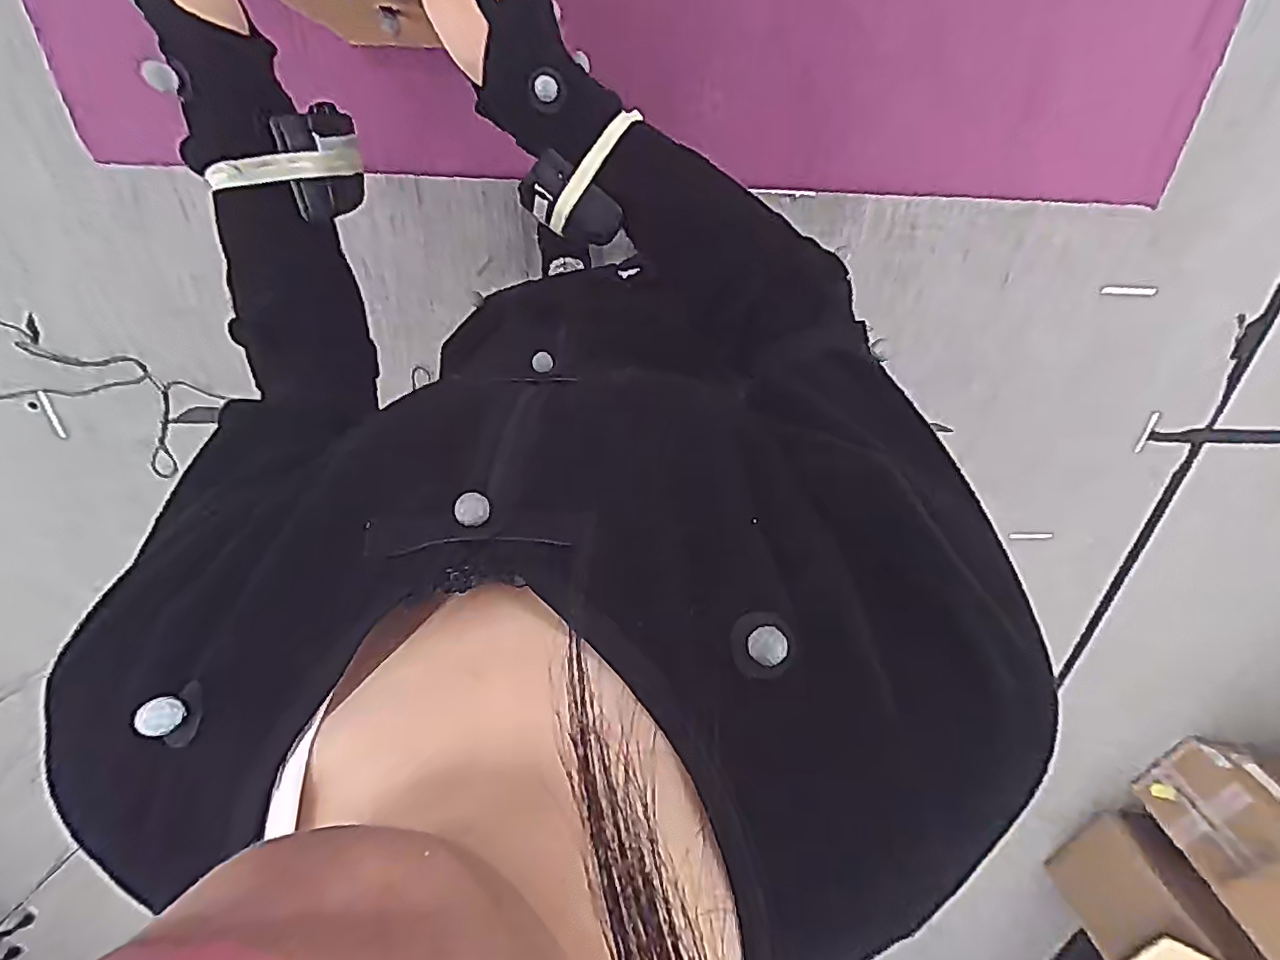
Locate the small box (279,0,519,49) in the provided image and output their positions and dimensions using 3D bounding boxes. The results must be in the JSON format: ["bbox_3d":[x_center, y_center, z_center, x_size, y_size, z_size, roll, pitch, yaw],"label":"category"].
[{"bbox_3d":[-0.195,-0.468,0.434,0.179,0.176,0.168,0,118,-4],"label":"small box"}]
